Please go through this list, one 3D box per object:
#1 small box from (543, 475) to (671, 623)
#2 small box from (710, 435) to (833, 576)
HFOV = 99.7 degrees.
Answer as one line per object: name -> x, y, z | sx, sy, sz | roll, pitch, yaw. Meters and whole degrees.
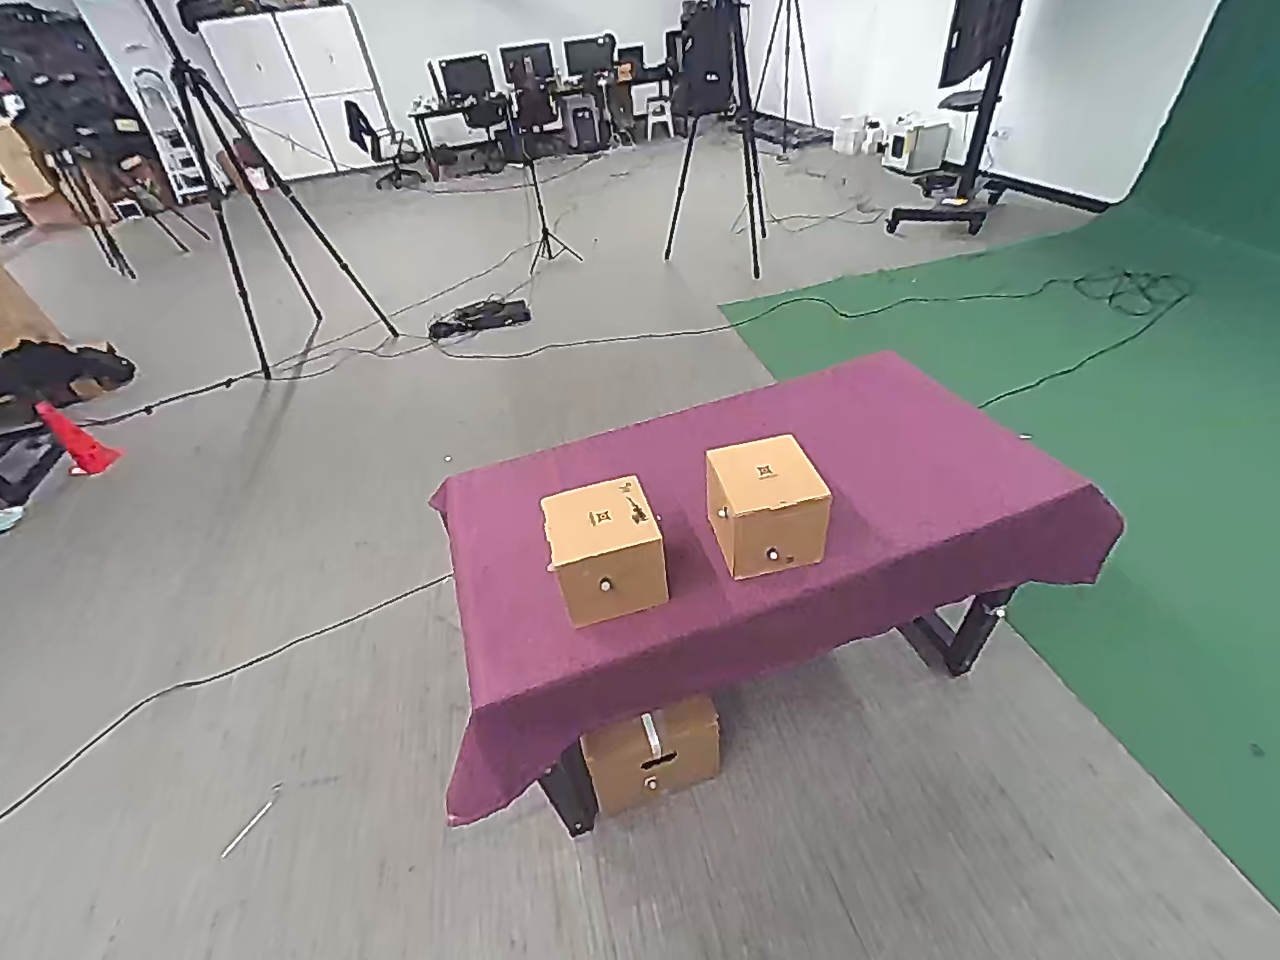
small box -> -0.056, 0.123, 0.943 | 0.179, 0.176, 0.168 | -15, 43, -7
small box -> 0.228, 0.045, 0.987 | 0.168, 0.176, 0.179 | -12, 42, -4
